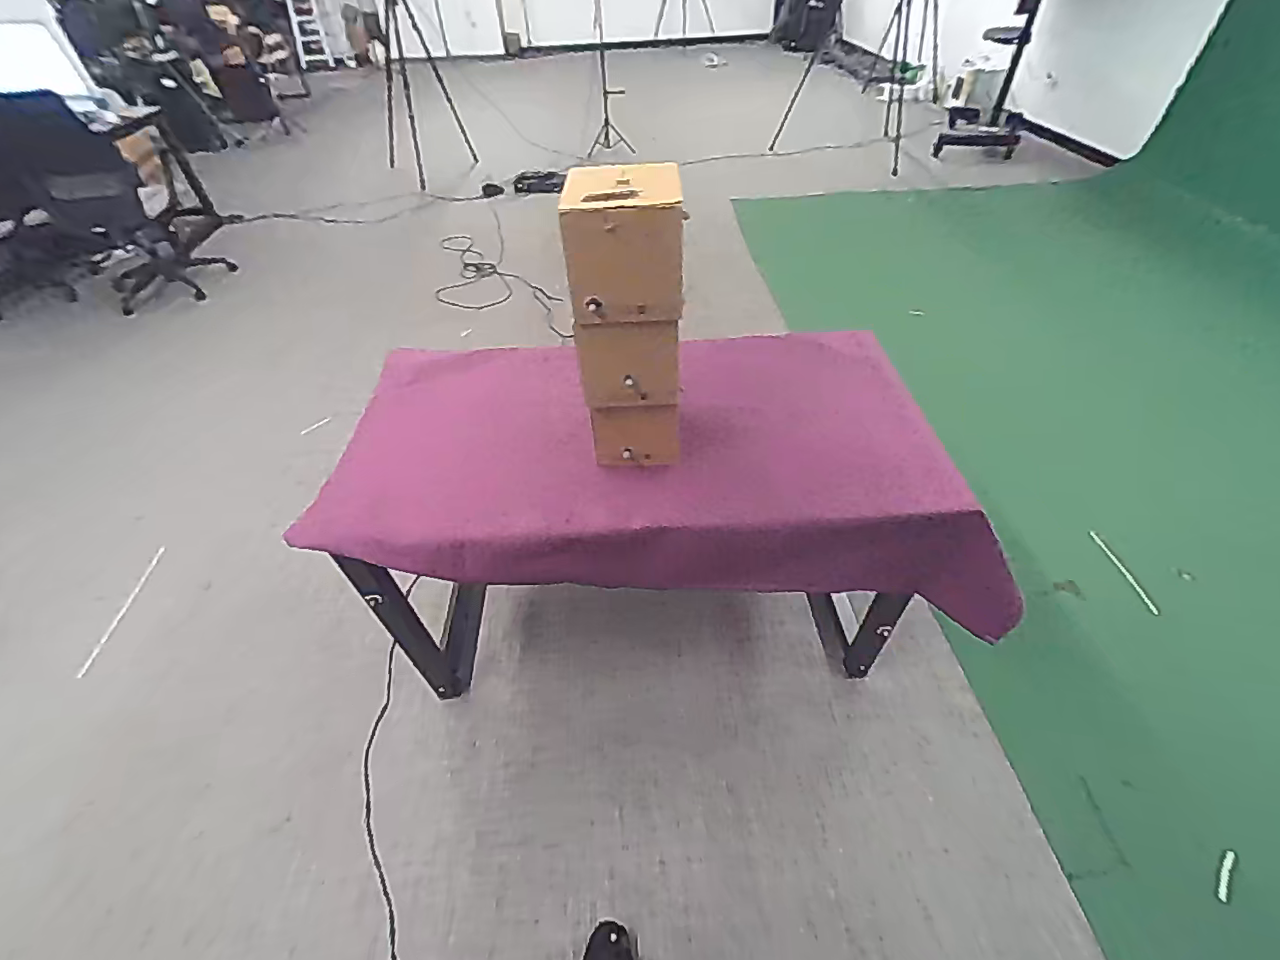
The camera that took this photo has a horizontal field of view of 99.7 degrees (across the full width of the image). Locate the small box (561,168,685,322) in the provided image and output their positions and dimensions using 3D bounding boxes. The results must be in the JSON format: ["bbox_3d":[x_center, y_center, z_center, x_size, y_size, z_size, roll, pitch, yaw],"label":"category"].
[{"bbox_3d":[-0.017,-0.353,0.823,0.168,0.176,0.179,-1,45,2],"label":"small box"}]

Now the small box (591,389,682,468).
[{"bbox_3d":[-0.003,-0.142,1.075,0.168,0.176,0.179,-1,46,3],"label":"small box"}]

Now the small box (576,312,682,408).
[{"bbox_3d":[-0.014,-0.245,0.947,0.168,0.176,0.179,-2,46,2],"label":"small box"}]
